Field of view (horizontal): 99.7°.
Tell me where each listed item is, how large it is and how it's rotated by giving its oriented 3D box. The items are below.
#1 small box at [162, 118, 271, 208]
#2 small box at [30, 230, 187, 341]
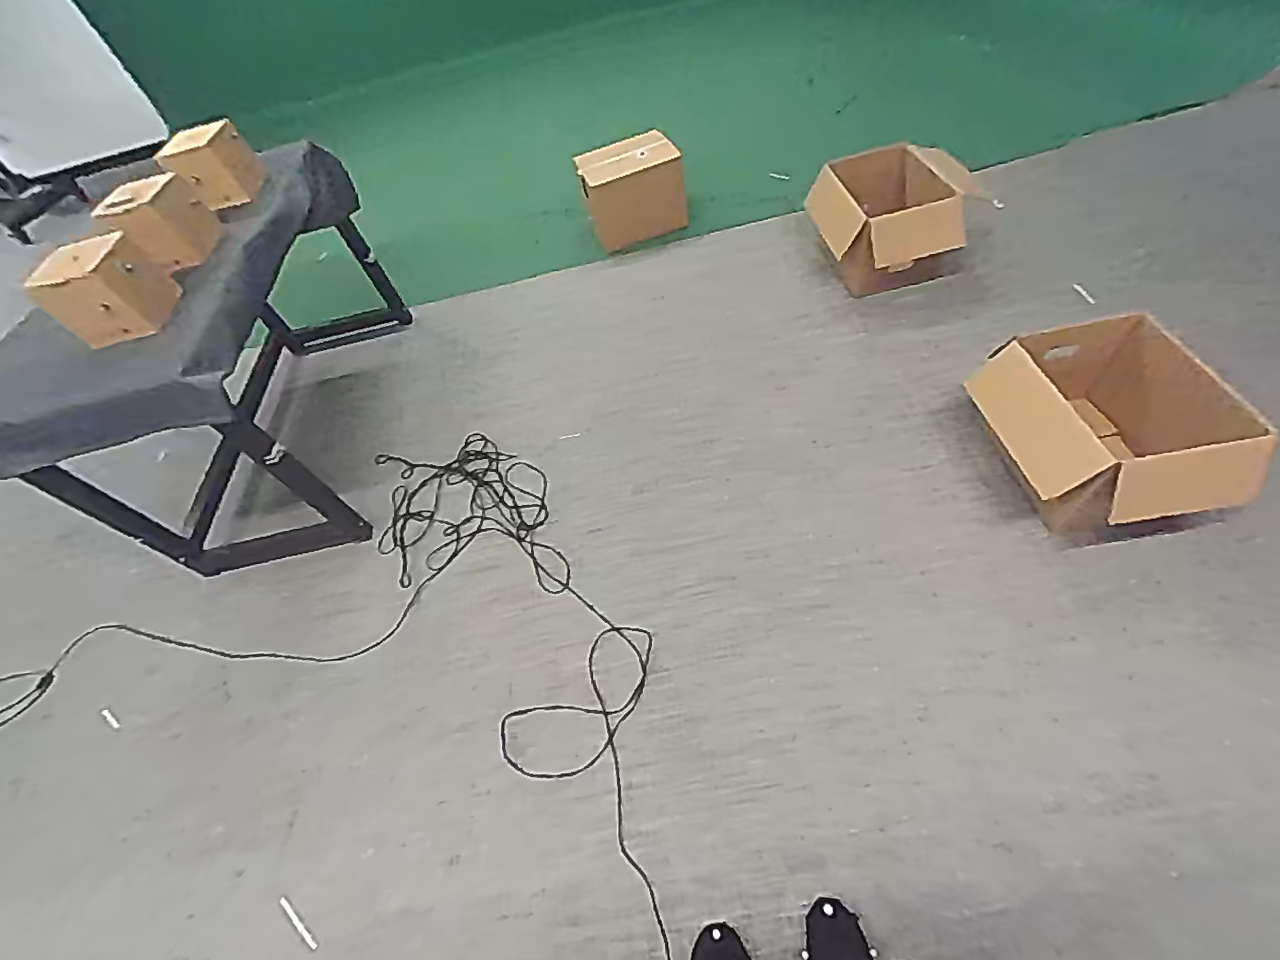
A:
[{"bbox_3d":[-1.257,-0.943,1.624,0.168,0.176,0.179,-11,53,6],"label":"small box"},{"bbox_3d":[-1.218,-0.443,1.259,0.168,0.176,0.179,-13,52,2],"label":"small box"}]
